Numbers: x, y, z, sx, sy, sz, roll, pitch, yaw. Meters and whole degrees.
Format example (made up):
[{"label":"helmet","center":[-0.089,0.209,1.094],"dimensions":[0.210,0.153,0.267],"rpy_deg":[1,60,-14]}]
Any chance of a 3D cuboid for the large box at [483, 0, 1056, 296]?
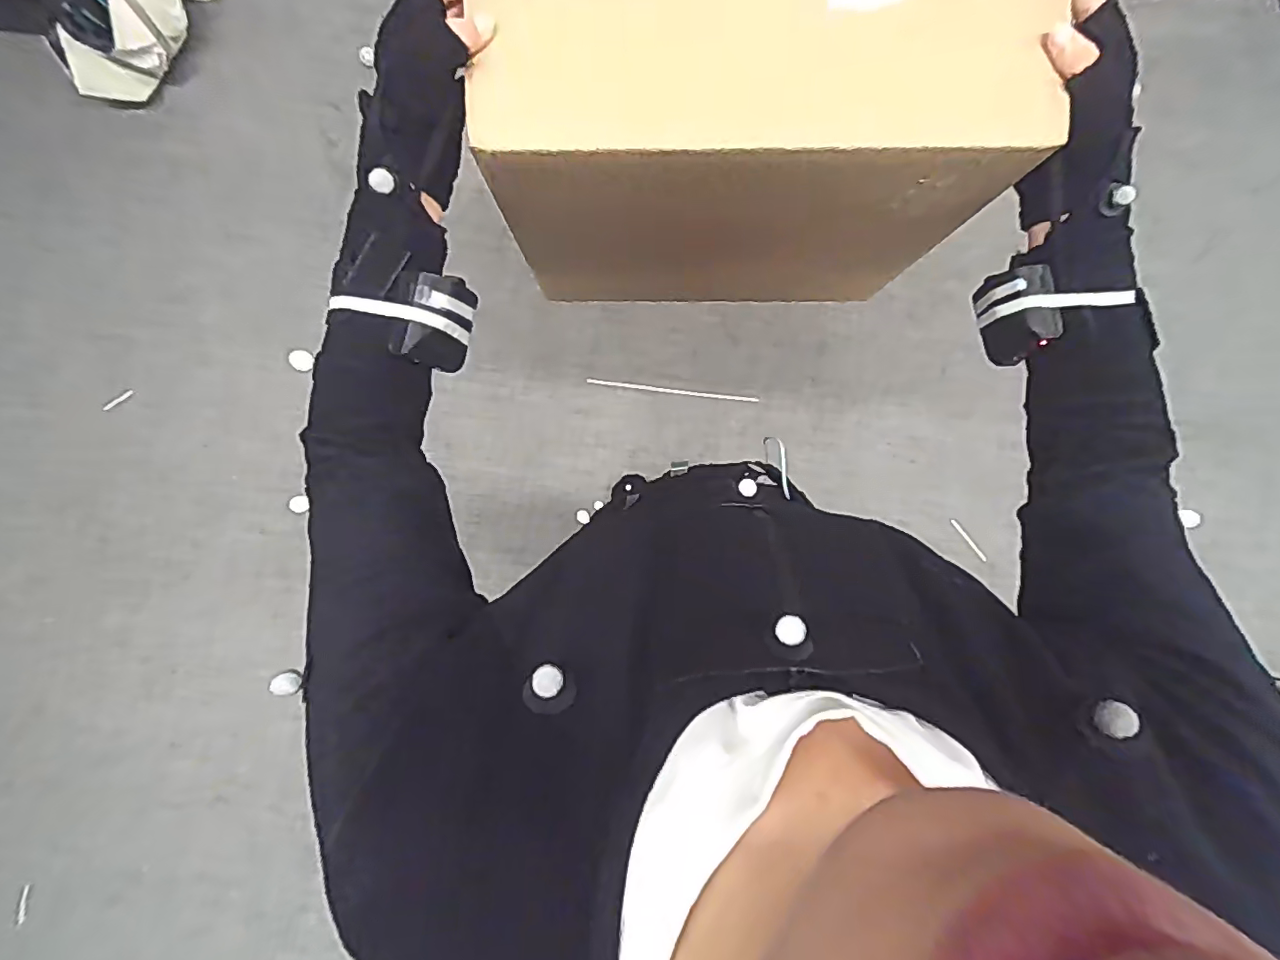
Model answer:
[{"label":"large box","center":[0.084,-0.385,0.523],"dimensions":[0.408,0.320,0.320],"rpy_deg":[-1,90,-1]}]
